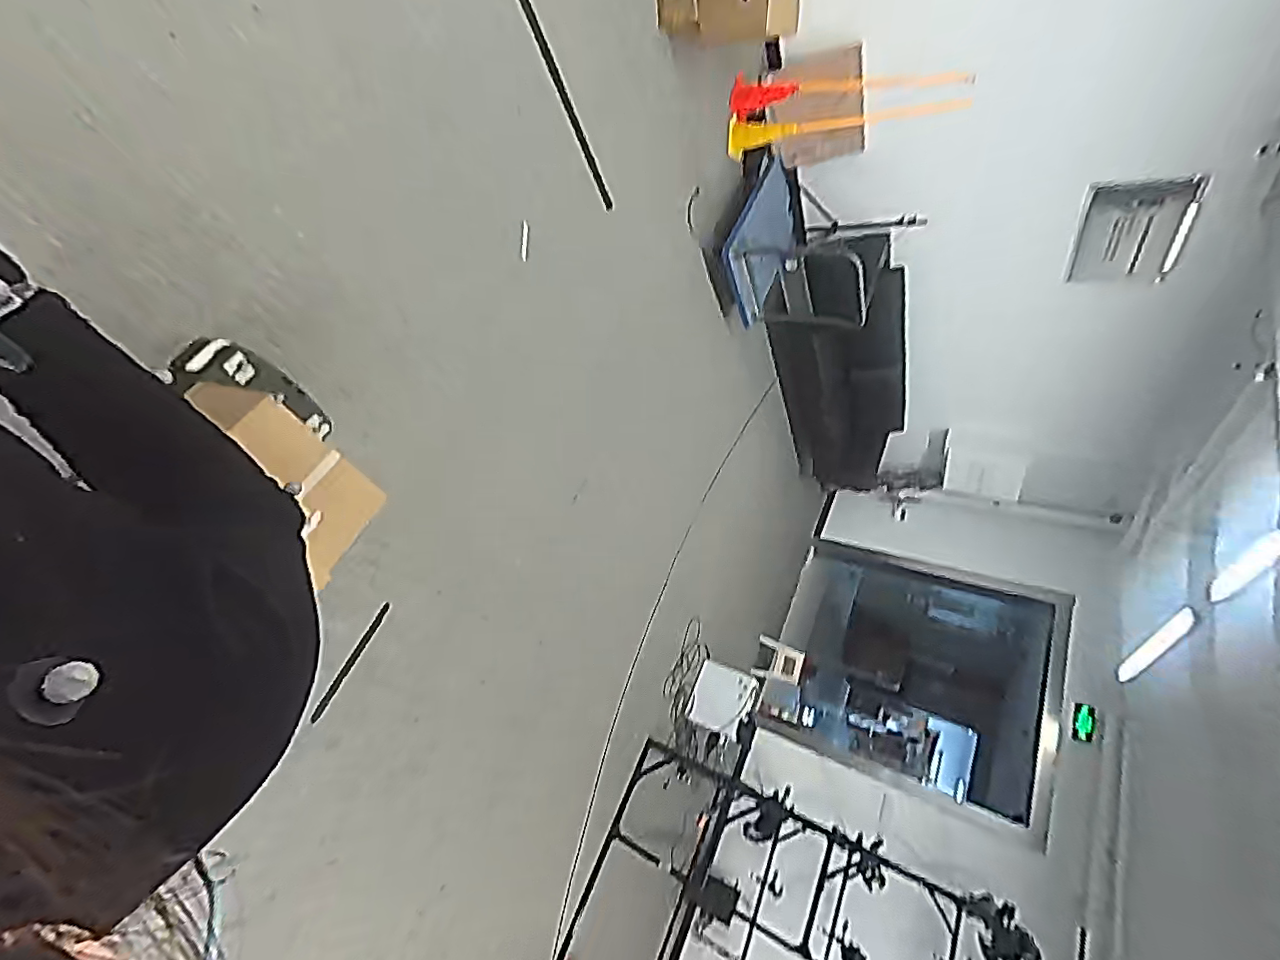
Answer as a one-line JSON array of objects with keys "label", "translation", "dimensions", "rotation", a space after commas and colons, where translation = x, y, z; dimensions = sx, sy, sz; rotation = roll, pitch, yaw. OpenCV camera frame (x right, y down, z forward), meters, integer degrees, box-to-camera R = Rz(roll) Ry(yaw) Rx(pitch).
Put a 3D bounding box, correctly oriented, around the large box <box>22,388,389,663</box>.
[{"label": "large box", "translation": [-0.791, 0.077, 1.028], "dimensions": [0.408, 0.320, 0.320], "rotation": [-61, 145, -27]}]
